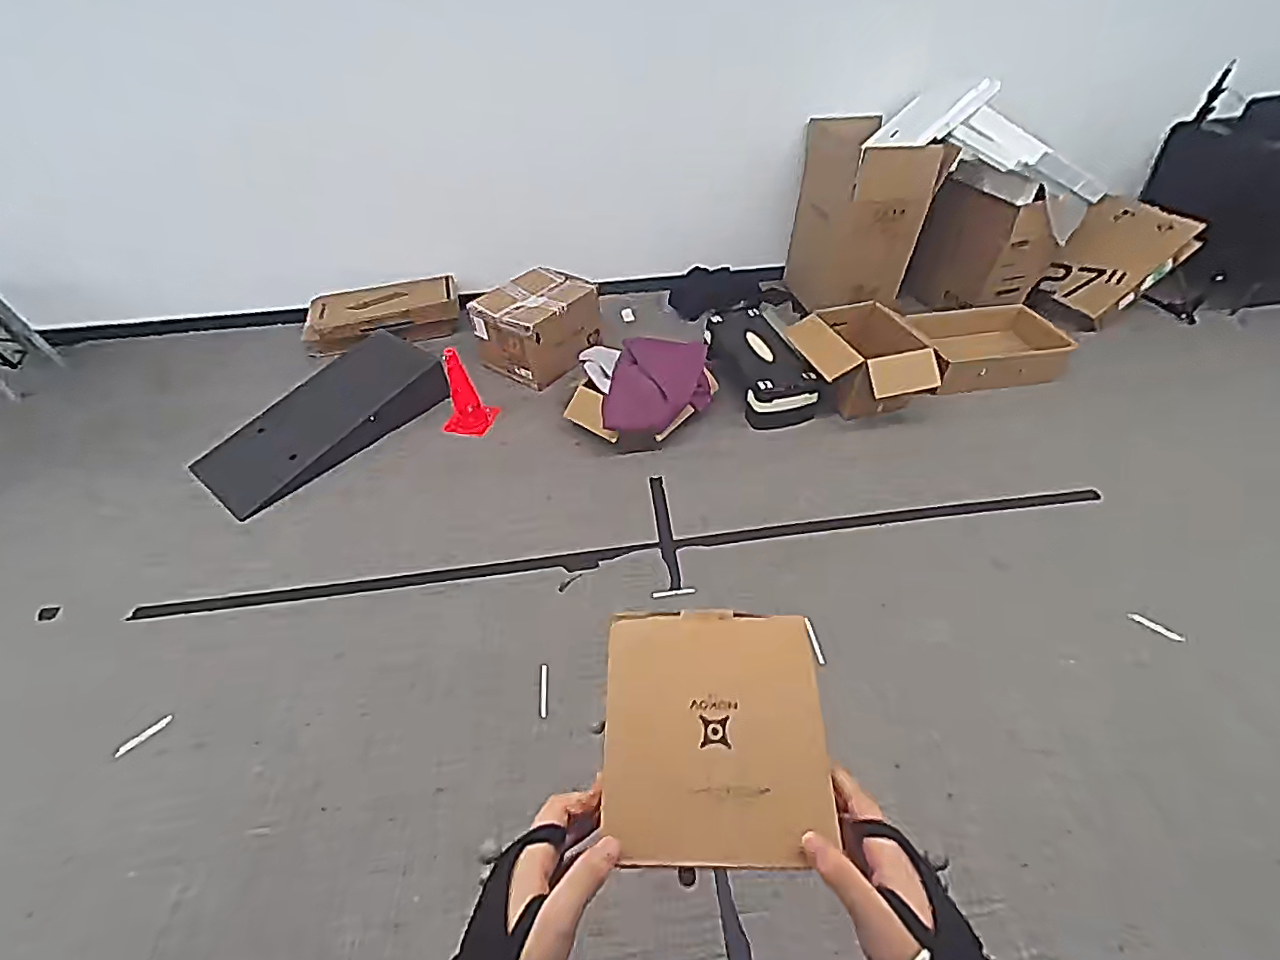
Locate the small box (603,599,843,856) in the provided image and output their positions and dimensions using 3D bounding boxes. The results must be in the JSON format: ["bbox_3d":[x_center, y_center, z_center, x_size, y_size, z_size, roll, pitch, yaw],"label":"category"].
[{"bbox_3d":[0.056,0.218,0.474,0.168,0.176,0.179,1,58,0],"label":"small box"}]
